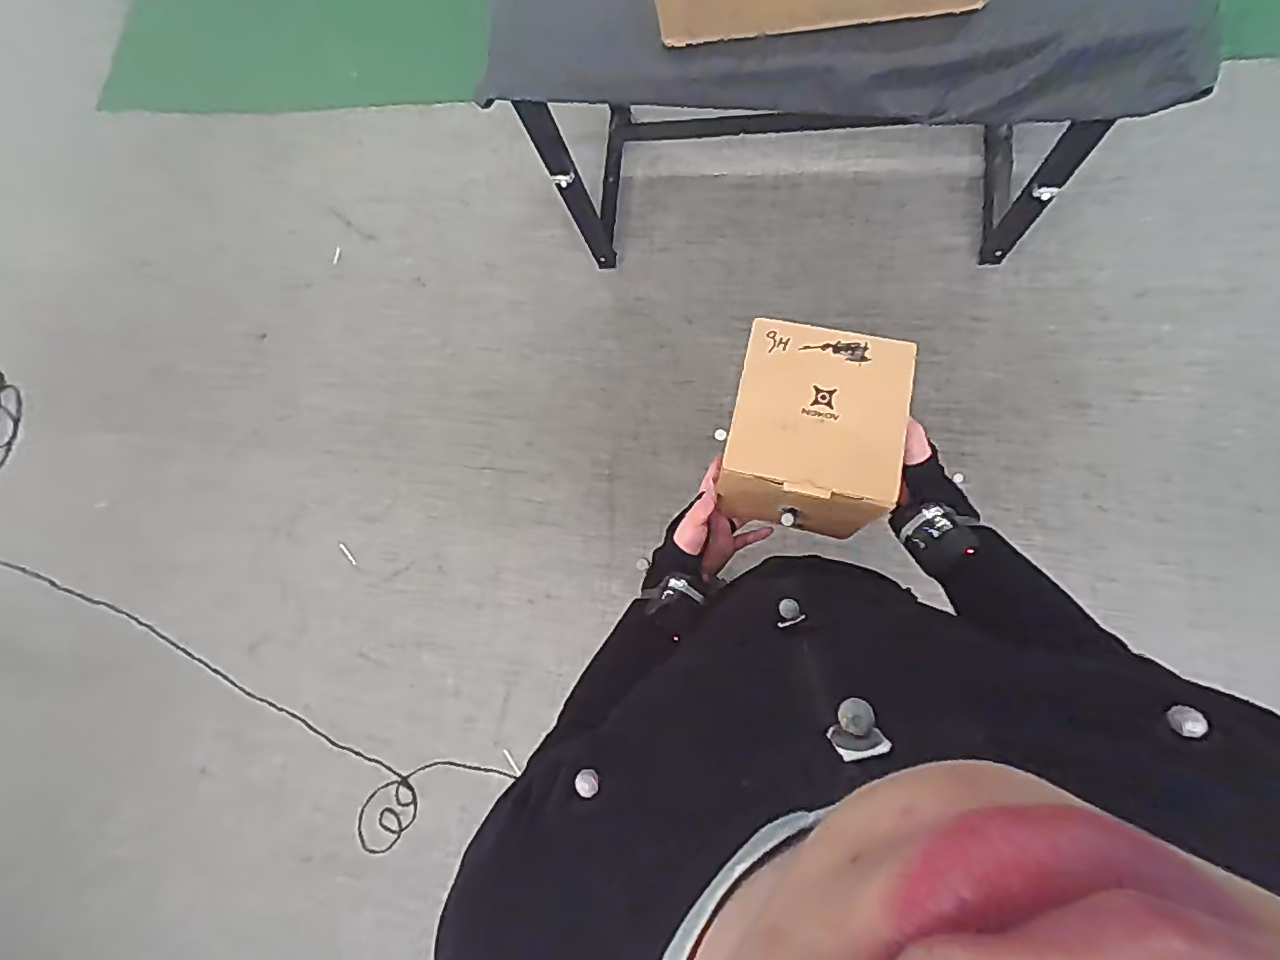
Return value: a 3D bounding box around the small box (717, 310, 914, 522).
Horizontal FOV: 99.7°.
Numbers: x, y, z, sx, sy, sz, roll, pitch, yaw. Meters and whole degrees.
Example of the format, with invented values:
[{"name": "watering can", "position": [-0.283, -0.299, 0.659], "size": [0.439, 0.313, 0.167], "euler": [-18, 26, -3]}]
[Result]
[{"name": "small box", "position": [0.184, -0.060, 0.613], "size": [0.168, 0.176, 0.179], "euler": [12, 77, 8]}]
